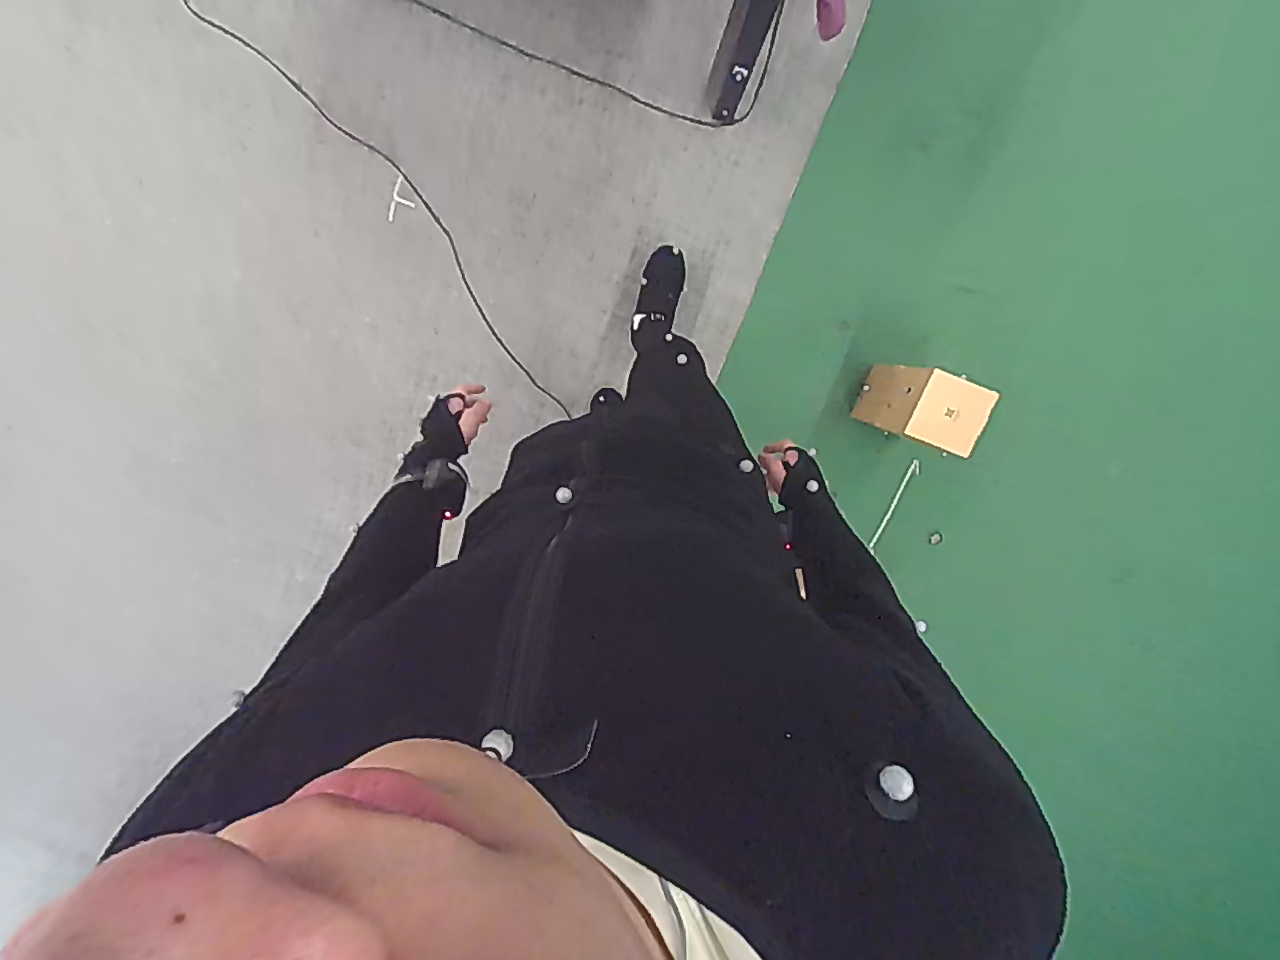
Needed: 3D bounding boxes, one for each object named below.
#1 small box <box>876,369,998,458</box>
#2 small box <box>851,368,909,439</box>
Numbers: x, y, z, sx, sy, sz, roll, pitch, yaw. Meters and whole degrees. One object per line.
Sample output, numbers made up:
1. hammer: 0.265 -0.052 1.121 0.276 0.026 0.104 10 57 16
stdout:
1. small box: 0.728 -0.171 1.351 0.179 0.176 0.168 19 101 -7
2. small box: 0.726 -0.210 1.507 0.179 0.176 0.168 20 102 -5
